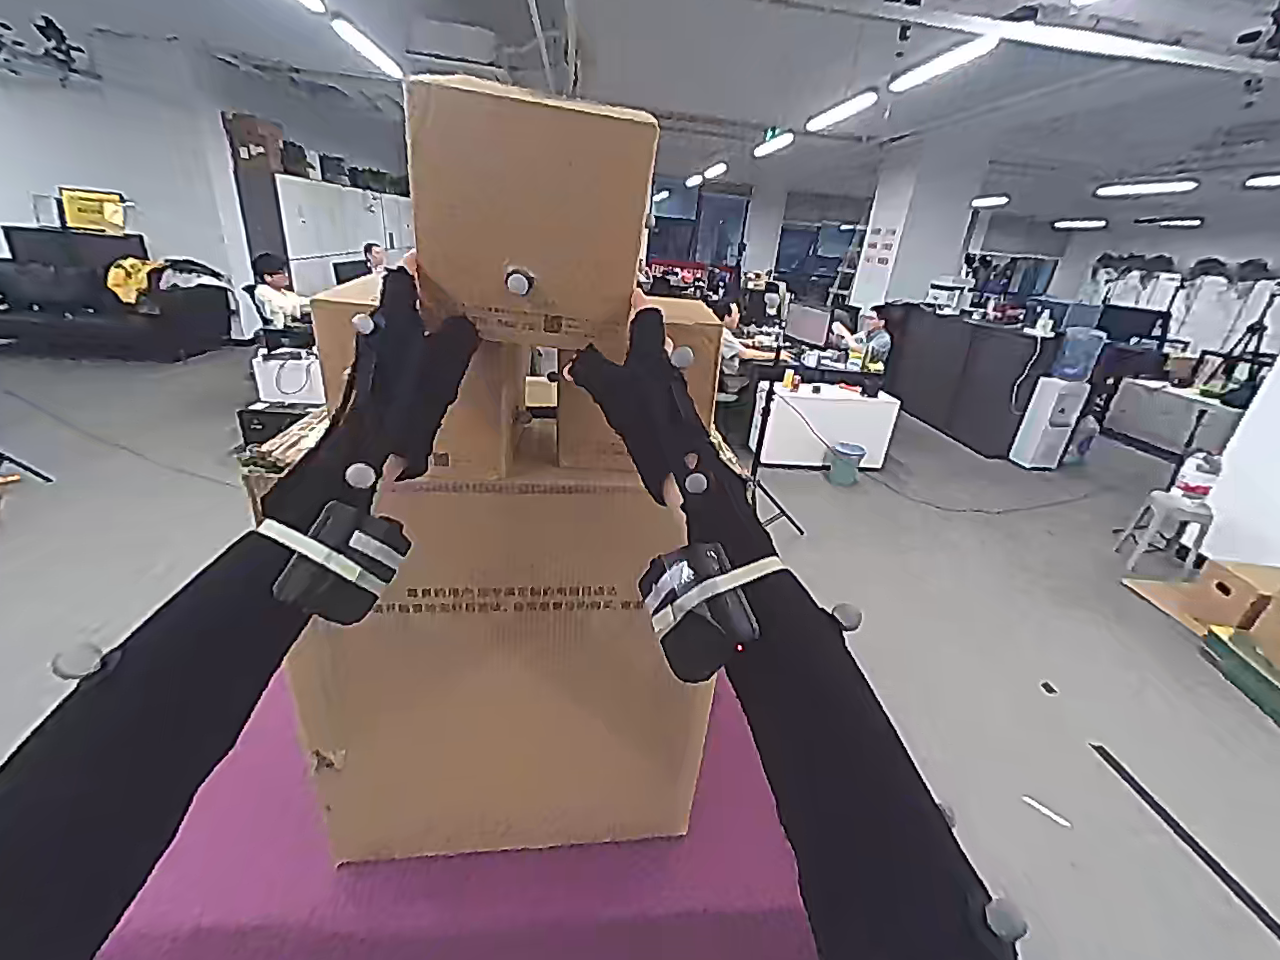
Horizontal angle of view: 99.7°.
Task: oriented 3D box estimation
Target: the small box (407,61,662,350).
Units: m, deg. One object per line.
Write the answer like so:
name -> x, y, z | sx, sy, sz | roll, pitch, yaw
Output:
small box -> -0.083, -0.228, 0.456 | 0.168, 0.176, 0.179 | 5, 36, -8

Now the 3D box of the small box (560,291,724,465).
small box -> -0.006, -0.125, 0.636 | 0.168, 0.176, 0.179 | 3, 24, -5
